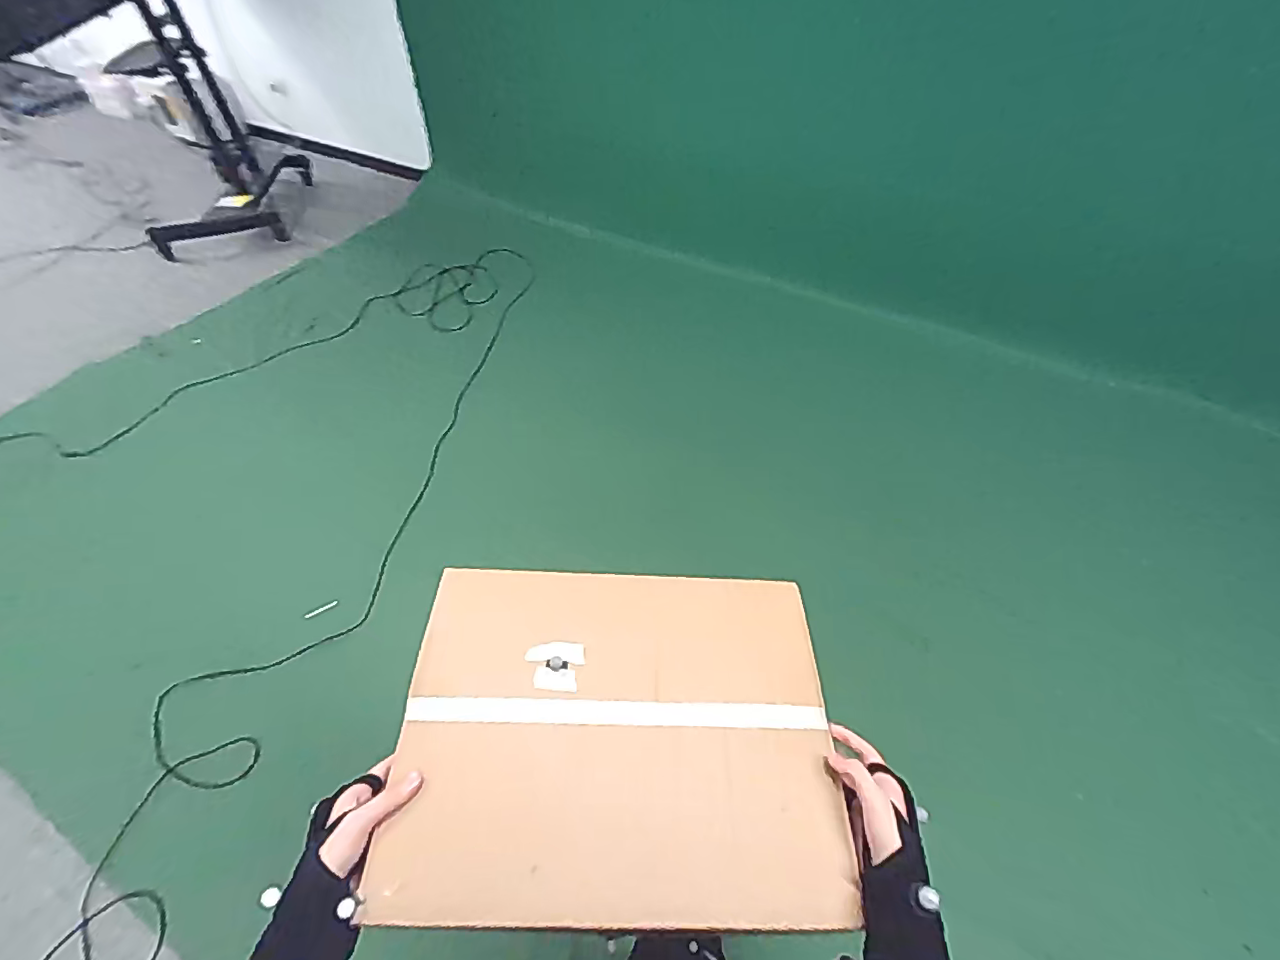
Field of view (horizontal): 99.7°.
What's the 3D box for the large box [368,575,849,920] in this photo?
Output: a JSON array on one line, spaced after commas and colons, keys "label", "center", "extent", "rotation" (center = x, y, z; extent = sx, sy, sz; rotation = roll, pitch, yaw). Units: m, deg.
[{"label": "large box", "center": [-0.029, 0.325, 0.650], "extent": [0.408, 0.320, 0.320], "rotation": [2, 50, -2]}]
